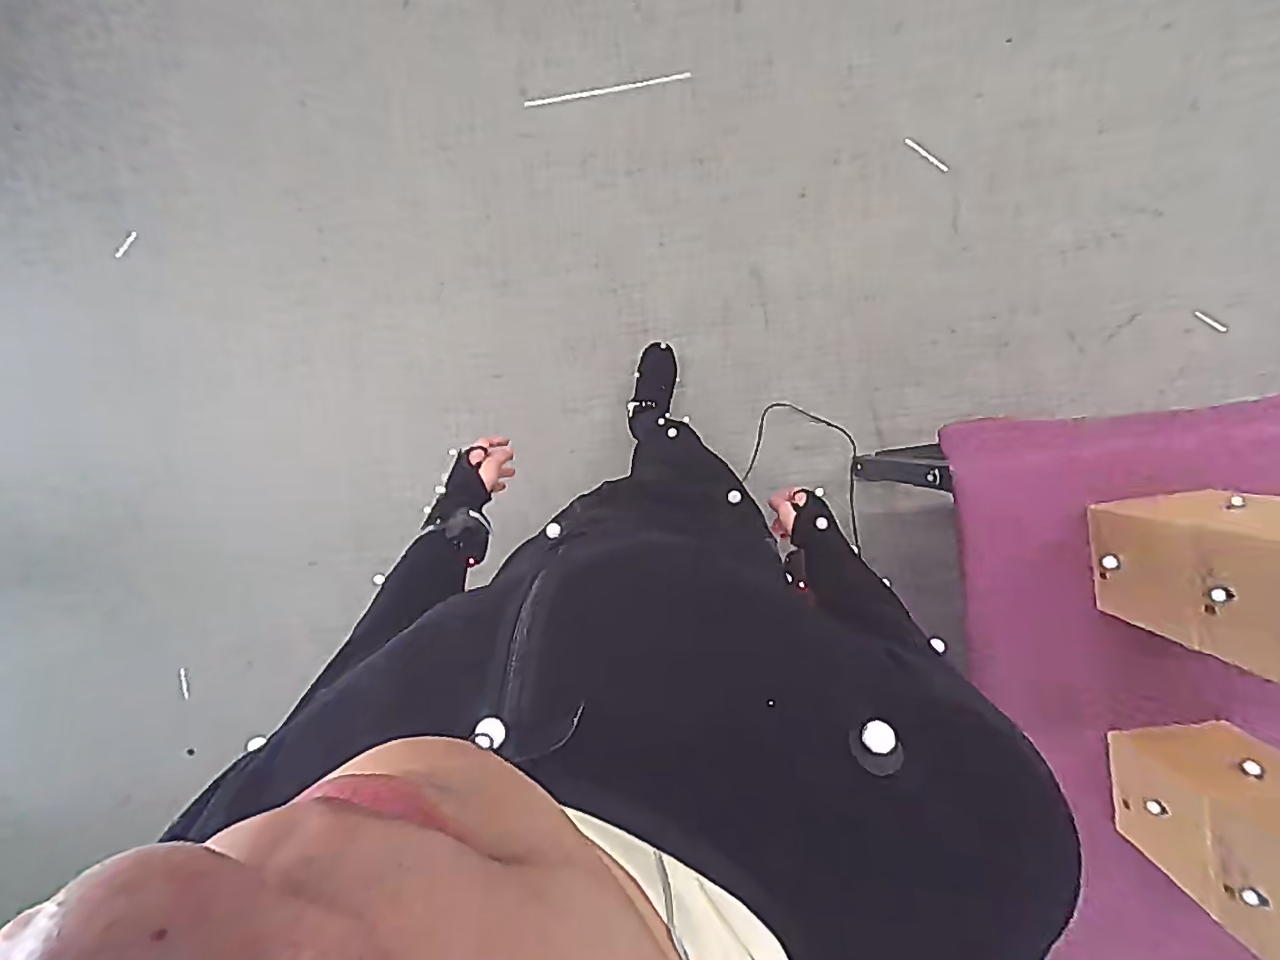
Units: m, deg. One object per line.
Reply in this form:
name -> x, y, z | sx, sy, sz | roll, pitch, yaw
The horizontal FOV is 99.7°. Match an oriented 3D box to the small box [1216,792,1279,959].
small box -> 0.823, 0.476, 0.606 | 0.179, 0.176, 0.168 | -8, 92, 4

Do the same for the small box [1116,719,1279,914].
small box -> 0.828, 0.465, 0.771 | 0.179, 0.176, 0.168 | -9, 93, 4

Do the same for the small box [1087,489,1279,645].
small box -> 0.778, 0.109, 0.749 | 0.179, 0.176, 0.168 | -9, 93, 5
